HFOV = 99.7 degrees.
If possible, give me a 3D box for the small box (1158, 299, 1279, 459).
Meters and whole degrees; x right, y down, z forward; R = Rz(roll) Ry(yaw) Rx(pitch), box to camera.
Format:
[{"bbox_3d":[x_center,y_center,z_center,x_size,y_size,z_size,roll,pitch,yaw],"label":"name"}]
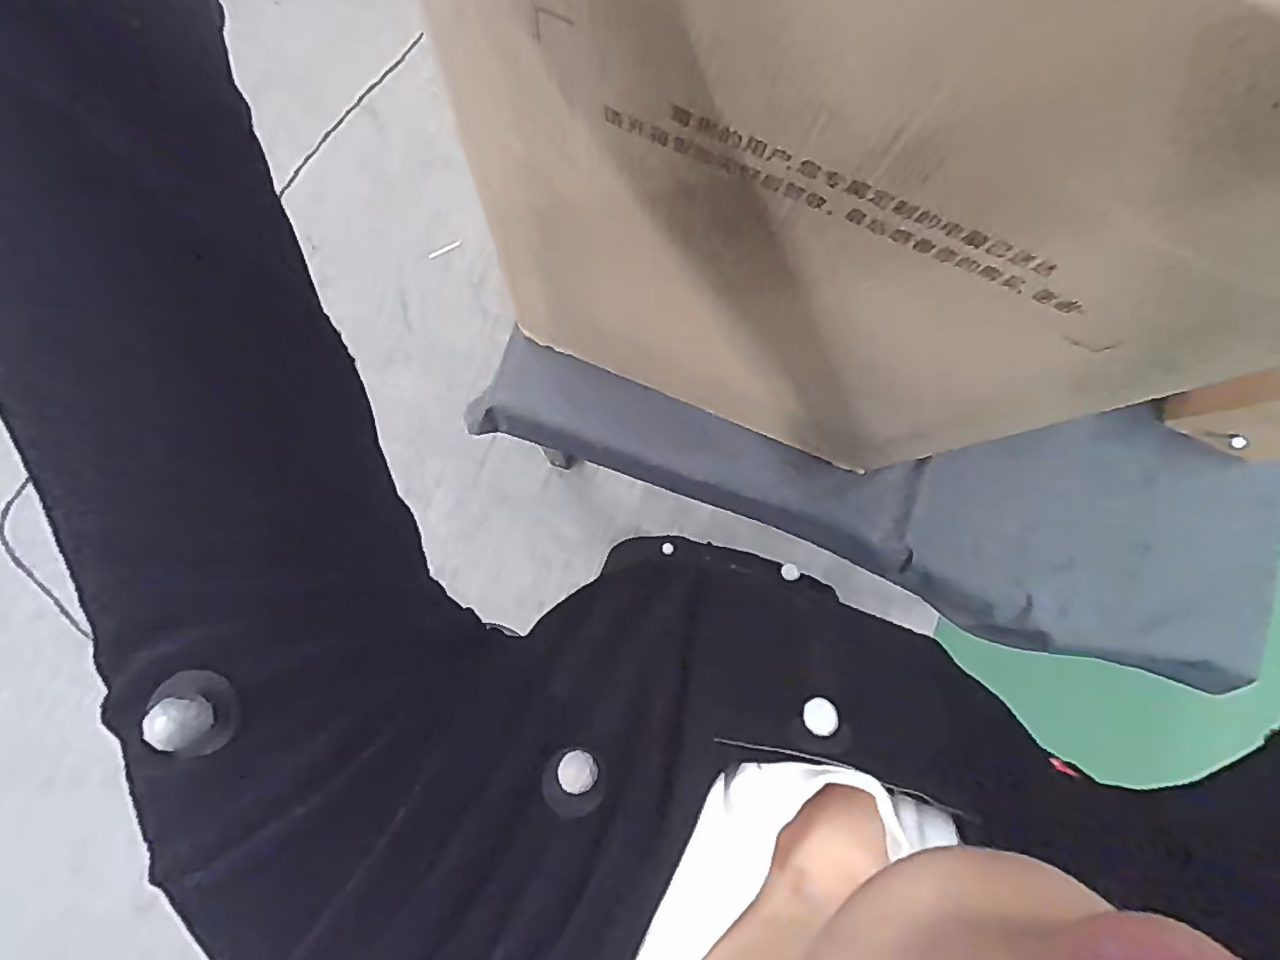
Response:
[{"bbox_3d":[0.923,-0.147,0.790,0.168,0.176,0.179,23,83,-2],"label":"small box"}]
